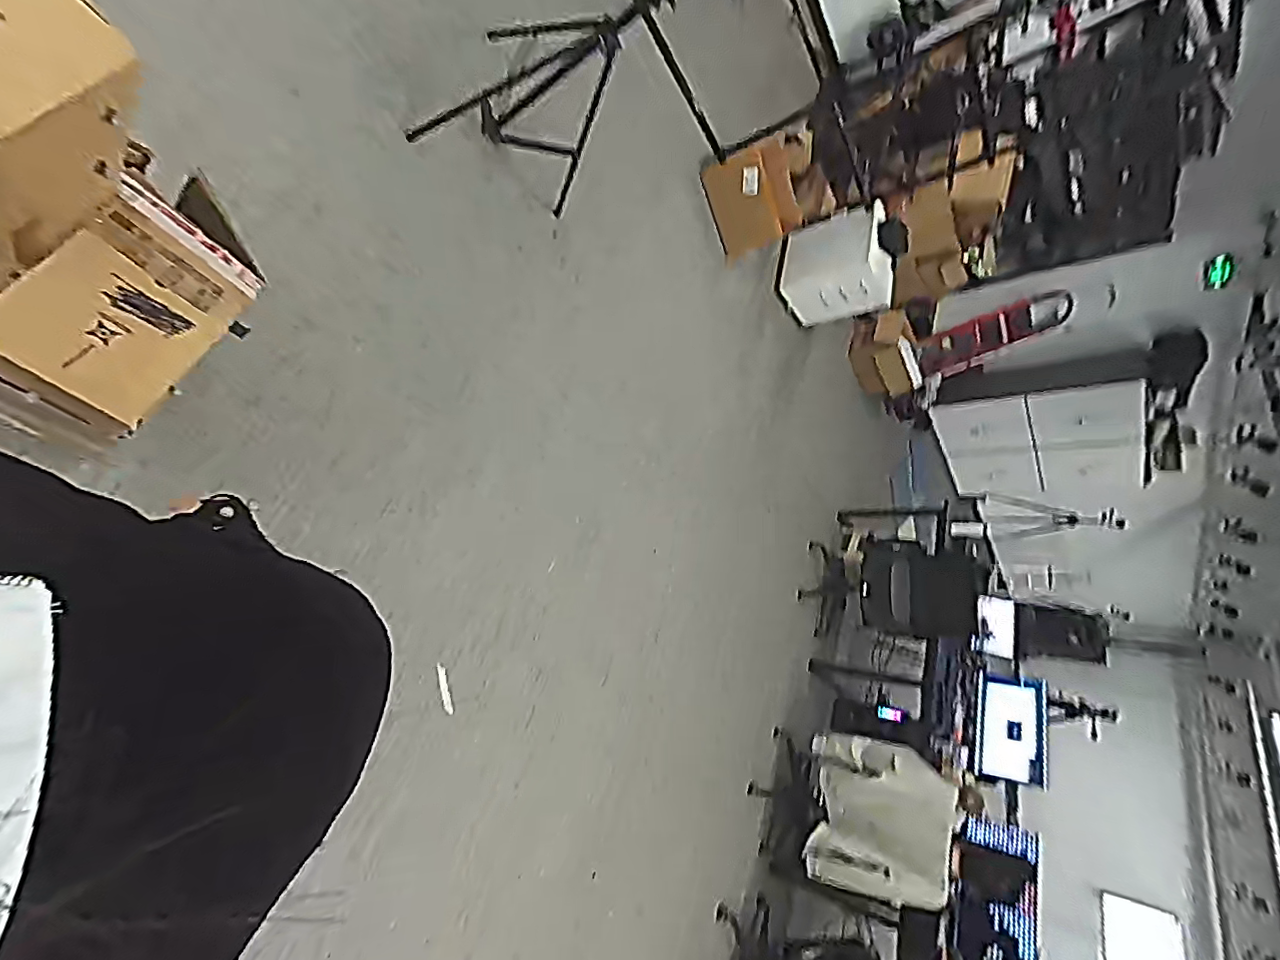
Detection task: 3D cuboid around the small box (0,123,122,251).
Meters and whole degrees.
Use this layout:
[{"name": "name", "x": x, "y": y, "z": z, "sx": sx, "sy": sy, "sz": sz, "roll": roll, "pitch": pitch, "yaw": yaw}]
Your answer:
[{"name": "small box", "x": -0.776, "y": -0.409, "z": 0.636, "sx": 0.168, "sy": 0.176, "sz": 0.179, "roll": 45, "pitch": 57, "yaw": -36}]

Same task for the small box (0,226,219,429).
[{"name": "small box", "x": -0.709, "y": -0.185, "z": 0.701, "sx": 0.168, "sy": 0.176, "sz": 0.179, "roll": 46, "pitch": 56, "yaw": -38}]

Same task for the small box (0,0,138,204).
[{"name": "small box", "x": -0.655, "y": -0.415, "z": 0.528, "sx": 0.168, "sy": 0.176, "sz": 0.179, "roll": 44, "pitch": 57, "yaw": -35}]
